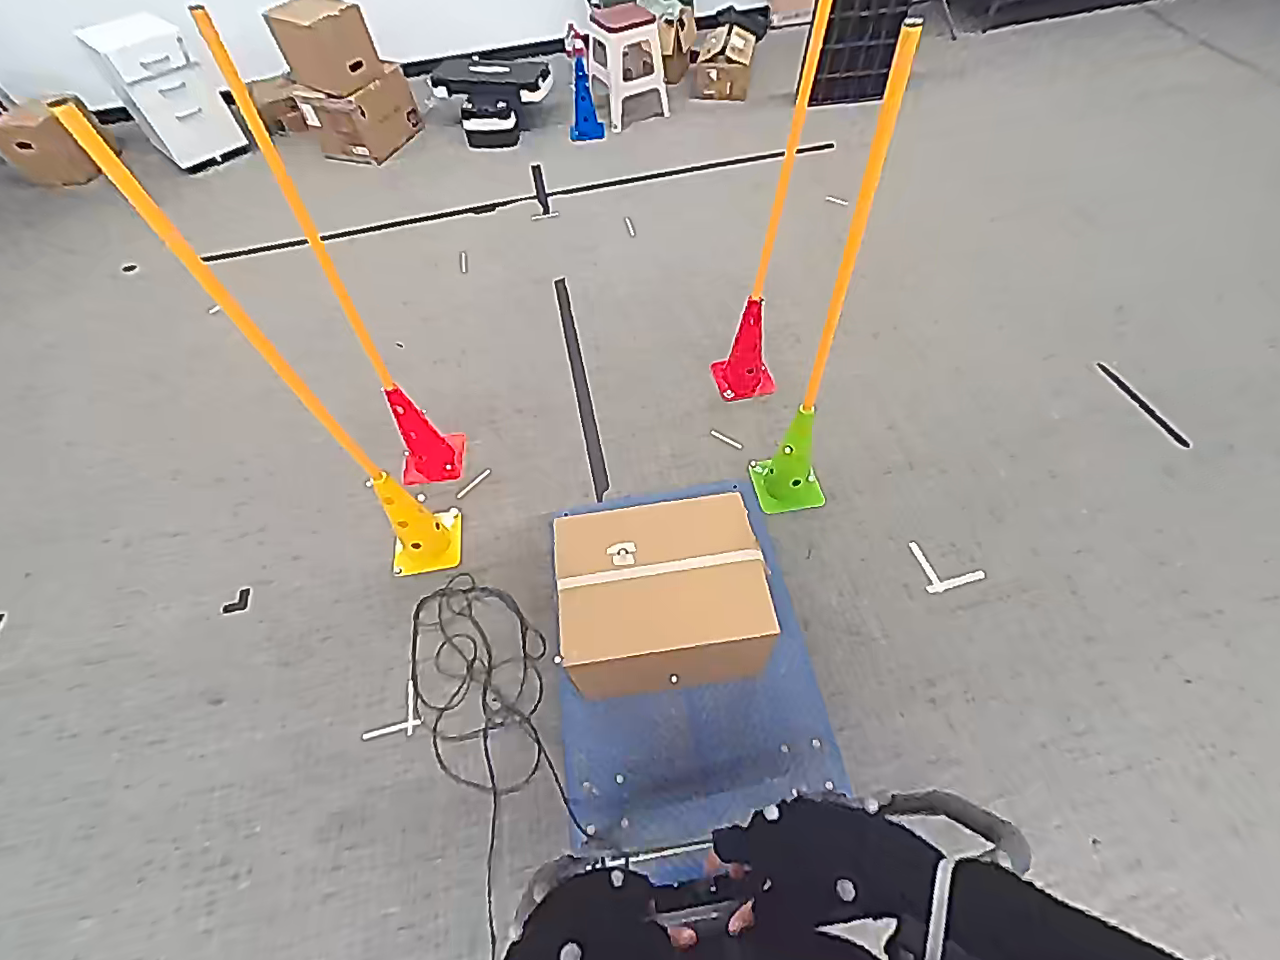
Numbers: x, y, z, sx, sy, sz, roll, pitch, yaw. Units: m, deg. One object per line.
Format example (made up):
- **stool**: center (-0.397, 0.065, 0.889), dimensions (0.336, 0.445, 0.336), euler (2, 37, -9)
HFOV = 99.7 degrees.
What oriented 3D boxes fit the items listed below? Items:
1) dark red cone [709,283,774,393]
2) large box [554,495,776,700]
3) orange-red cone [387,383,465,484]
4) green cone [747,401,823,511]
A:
- **dark red cone**: center (0.365, -0.491, 1.843), dimensions (0.201, 0.394, 0.202), euler (-11, 56, -6)
- **large box**: center (0.046, 0.268, 1.192), dimensions (0.408, 0.320, 0.320), euler (-9, 56, -1)
- **orange-red cone**: center (-0.715, -0.169, 1.721), dimensions (0.198, 0.360, 0.199), euler (-5, 54, -1)
- **green cone**: center (0.453, -0.090, 1.584), dimensions (0.202, 0.368, 0.200), euler (-8, 56, -3)
